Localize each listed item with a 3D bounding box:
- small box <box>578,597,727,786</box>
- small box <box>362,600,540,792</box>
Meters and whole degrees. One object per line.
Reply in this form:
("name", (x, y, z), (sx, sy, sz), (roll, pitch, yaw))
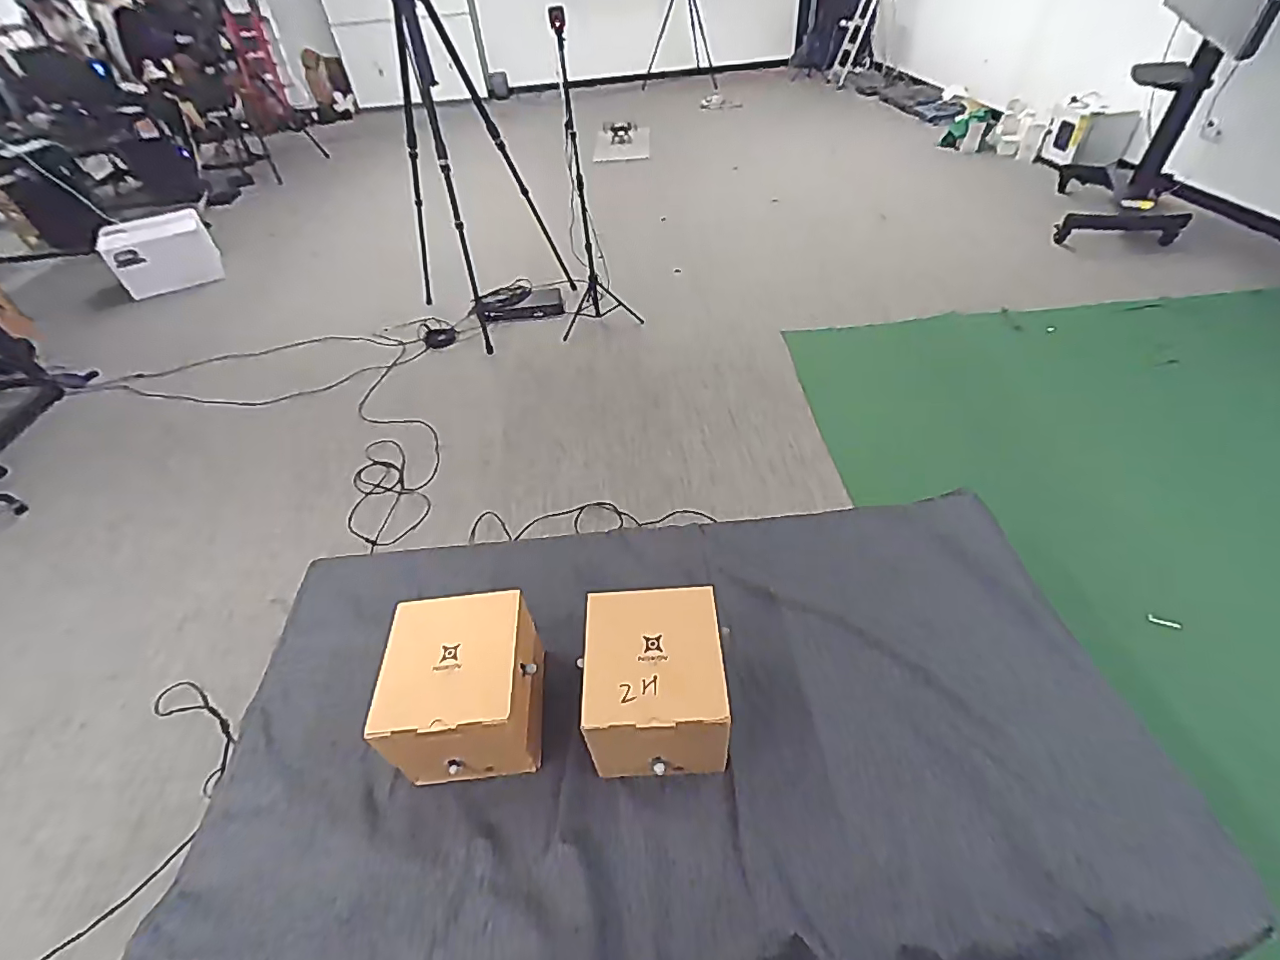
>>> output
("small box", (0.017, 0.273, 0.699), (0.168, 0.176, 0.179), (-3, 44, 2))
("small box", (-0.231, 0.284, 0.714), (0.168, 0.176, 0.179), (-6, 45, -1))
